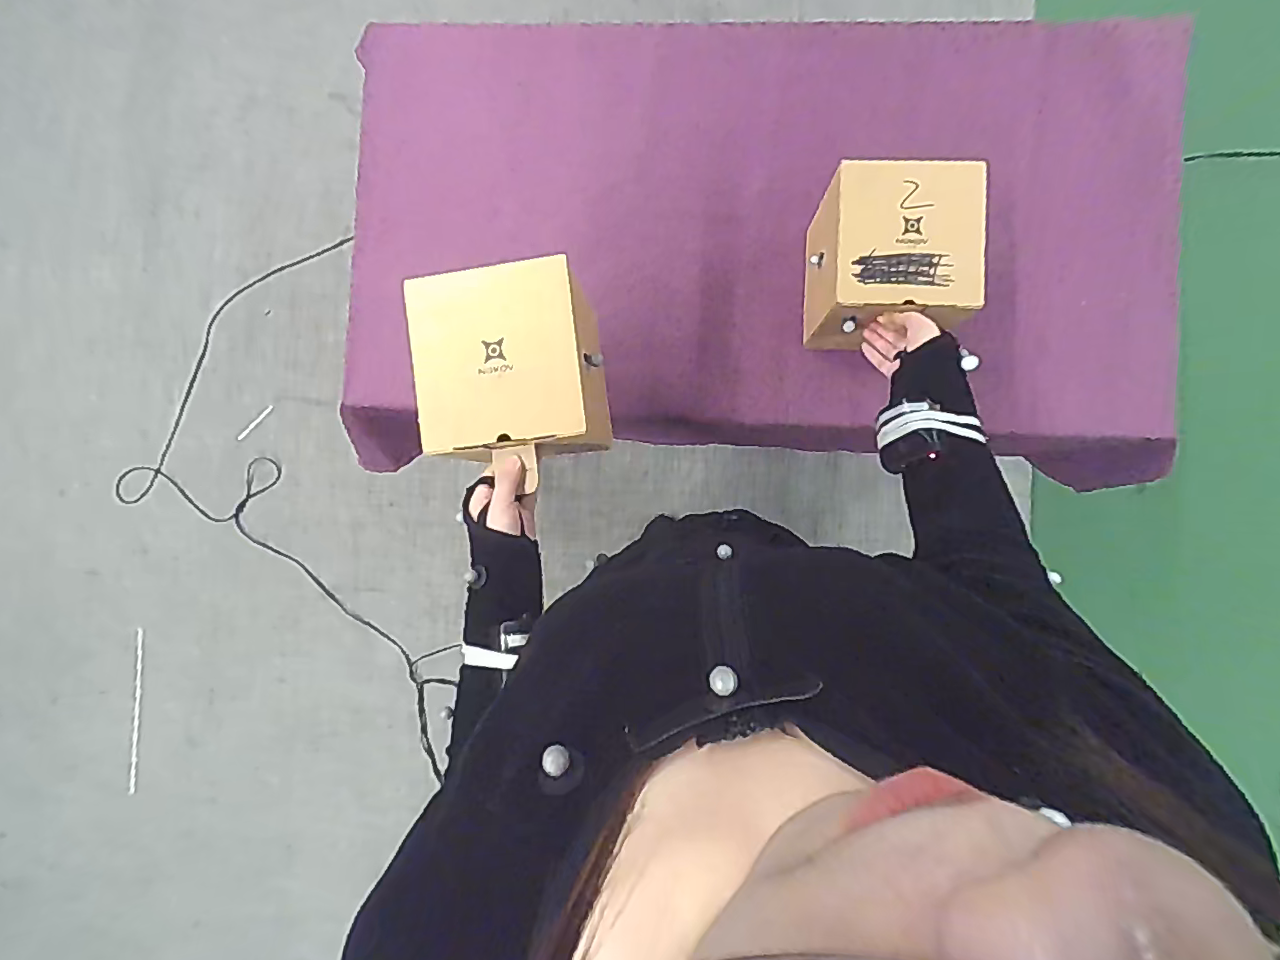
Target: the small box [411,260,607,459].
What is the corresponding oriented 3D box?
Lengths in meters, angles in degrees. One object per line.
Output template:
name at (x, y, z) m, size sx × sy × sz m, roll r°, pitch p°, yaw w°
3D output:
small box at (-0.136, -0.122, 0.616) m, size 0.168 × 0.176 × 0.179 m, roll -7°, pitch 89°, yaw 5°
